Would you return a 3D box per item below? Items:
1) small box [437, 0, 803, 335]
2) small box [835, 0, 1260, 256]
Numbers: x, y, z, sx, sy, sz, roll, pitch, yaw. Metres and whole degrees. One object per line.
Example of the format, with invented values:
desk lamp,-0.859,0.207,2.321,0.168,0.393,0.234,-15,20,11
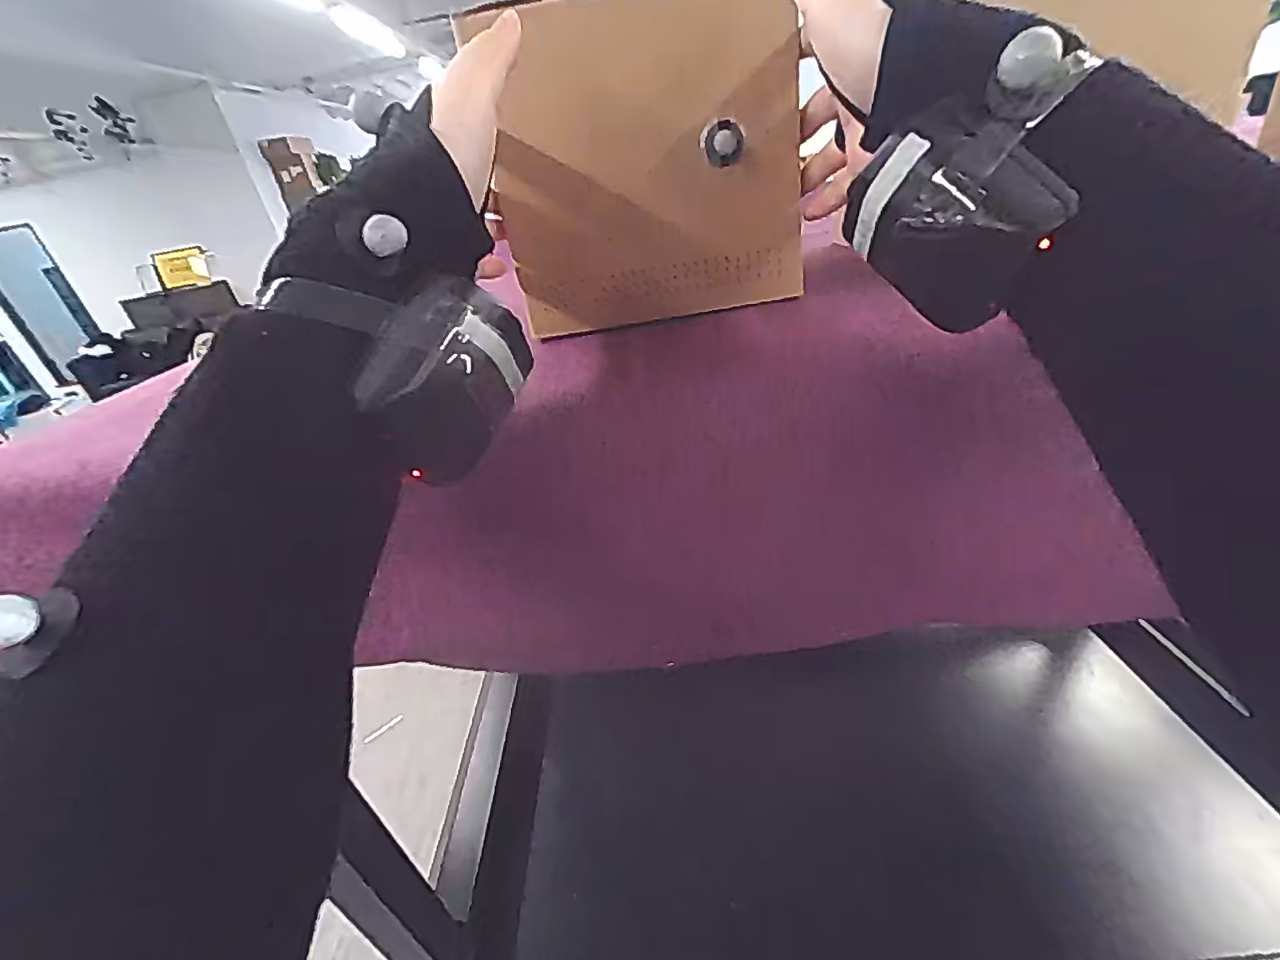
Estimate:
small box,-0.001,-0.208,0.359,0.179,0.176,0.168,-9,29,3
small box,0.244,-0.254,0.357,0.168,0.176,0.179,-11,29,-1
